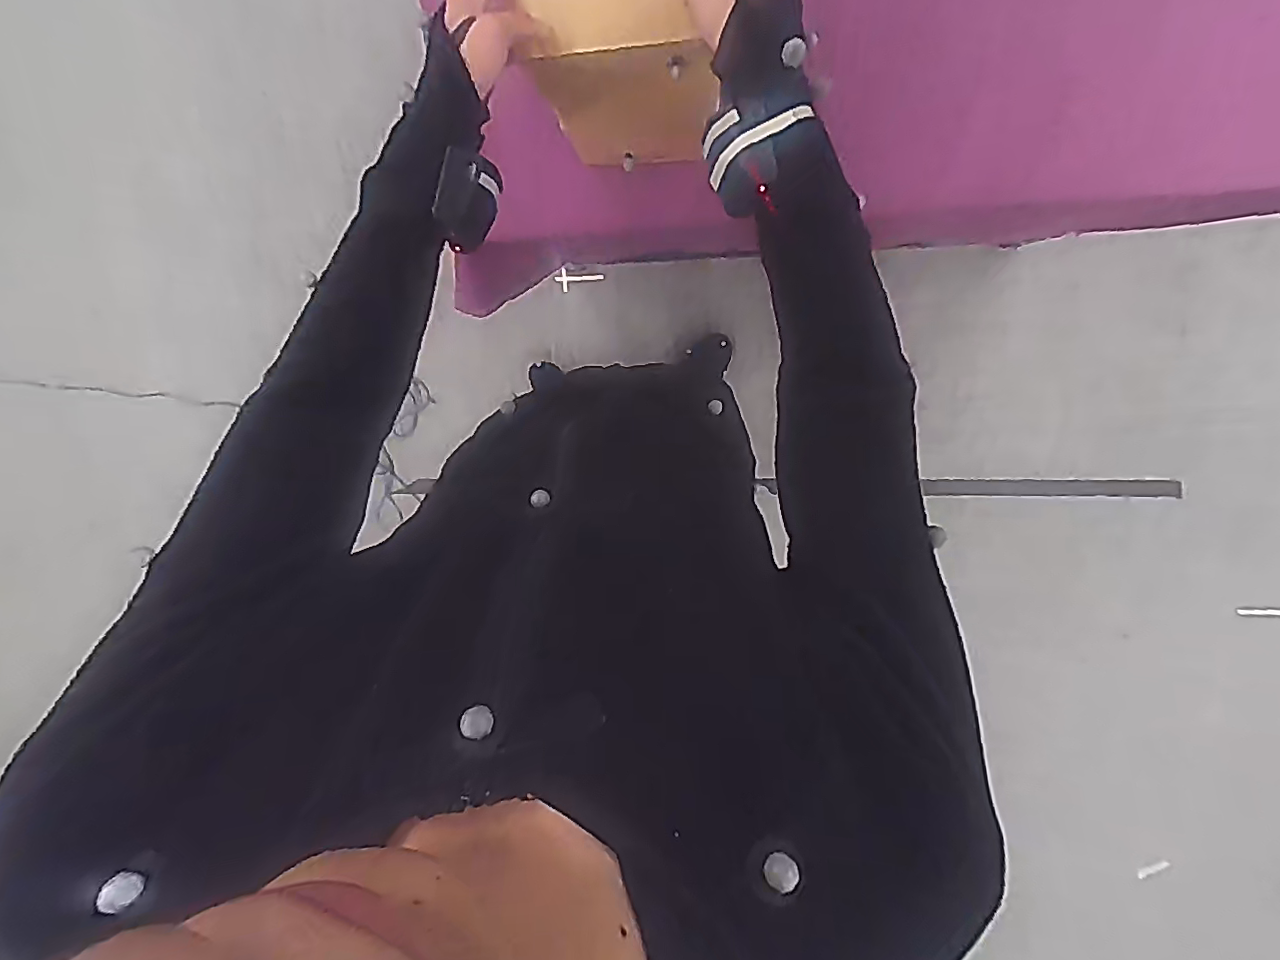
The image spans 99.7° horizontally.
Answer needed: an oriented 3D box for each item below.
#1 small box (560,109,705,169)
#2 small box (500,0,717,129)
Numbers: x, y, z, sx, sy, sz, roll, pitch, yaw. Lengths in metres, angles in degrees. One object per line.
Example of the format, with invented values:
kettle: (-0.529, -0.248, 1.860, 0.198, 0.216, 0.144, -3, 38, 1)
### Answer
small box: (-0.007, -0.493, 0.643, 0.168, 0.176, 0.179, 0, 107, 6)
small box: (-0.021, -0.442, 0.489, 0.179, 0.176, 0.168, -2, 106, 6)
